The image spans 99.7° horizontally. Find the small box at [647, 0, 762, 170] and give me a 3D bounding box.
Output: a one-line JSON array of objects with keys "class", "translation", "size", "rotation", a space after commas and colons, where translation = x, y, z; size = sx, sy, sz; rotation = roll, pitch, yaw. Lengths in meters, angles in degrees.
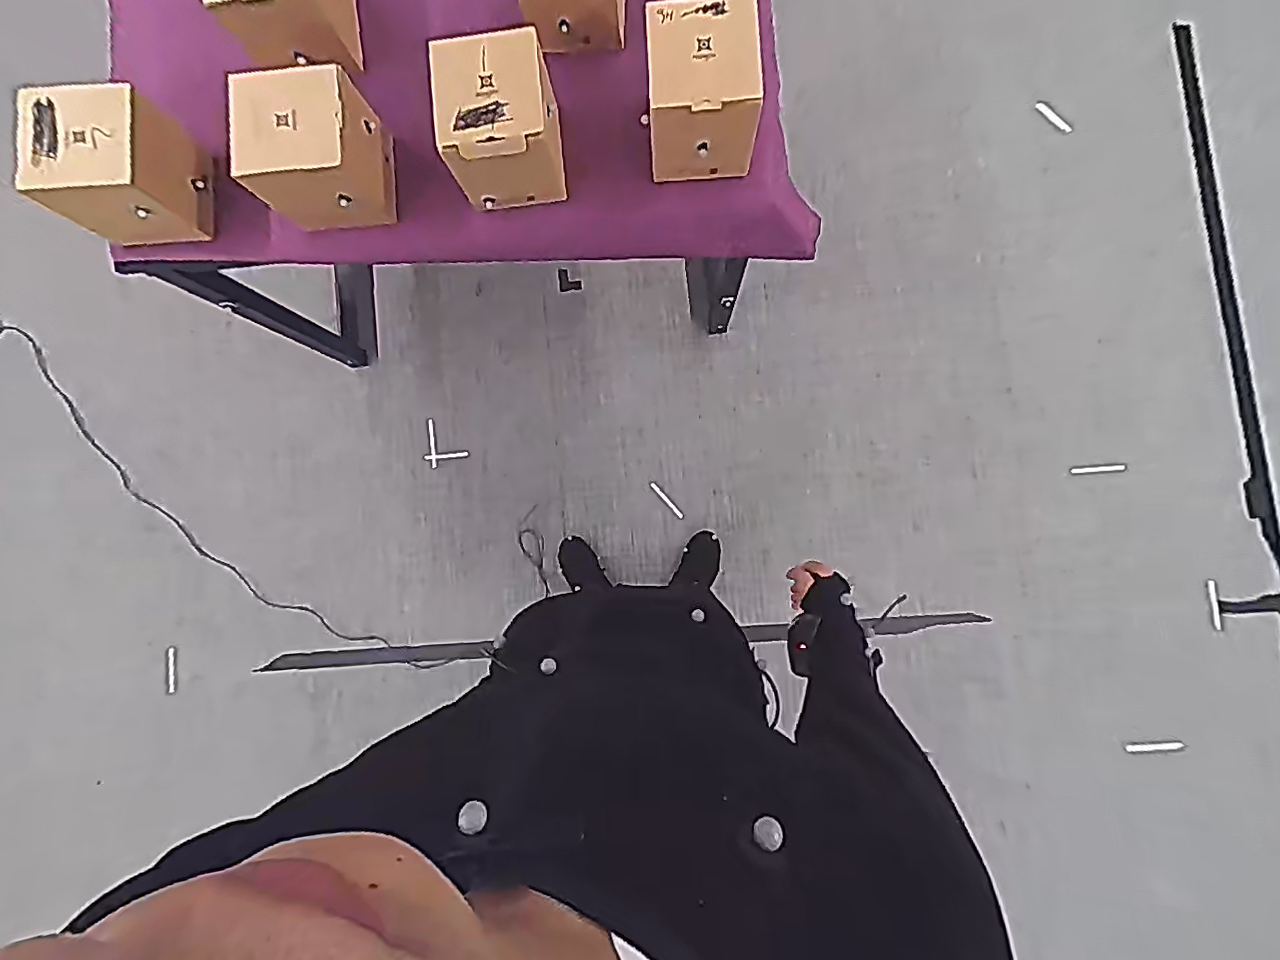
[{"class": "small box", "translation": [0.099, -0.623, 0.863], "size": [0.168, 0.176, 0.179], "rotation": [-2, 85, 3]}]

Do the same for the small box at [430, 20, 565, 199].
[{"class": "small box", "translation": [-0.221, -0.583, 0.878], "size": [0.168, 0.176, 0.179], "rotation": [-6, 85, 2]}]

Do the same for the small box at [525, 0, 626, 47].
[{"class": "small box", "translation": [-0.110, -0.869, 0.893], "size": [0.168, 0.176, 0.179], "rotation": [2, 88, 3]}]

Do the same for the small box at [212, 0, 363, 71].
[{"class": "small box", "translation": [-0.597, -0.831, 0.913], "size": [0.168, 0.176, 0.179], "rotation": [-8, 87, 2]}]

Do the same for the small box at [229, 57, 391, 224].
[{"class": "small box", "translation": [-0.528, -0.546, 0.890], "size": [0.179, 0.176, 0.168], "rotation": [-4, 86, 2]}]
